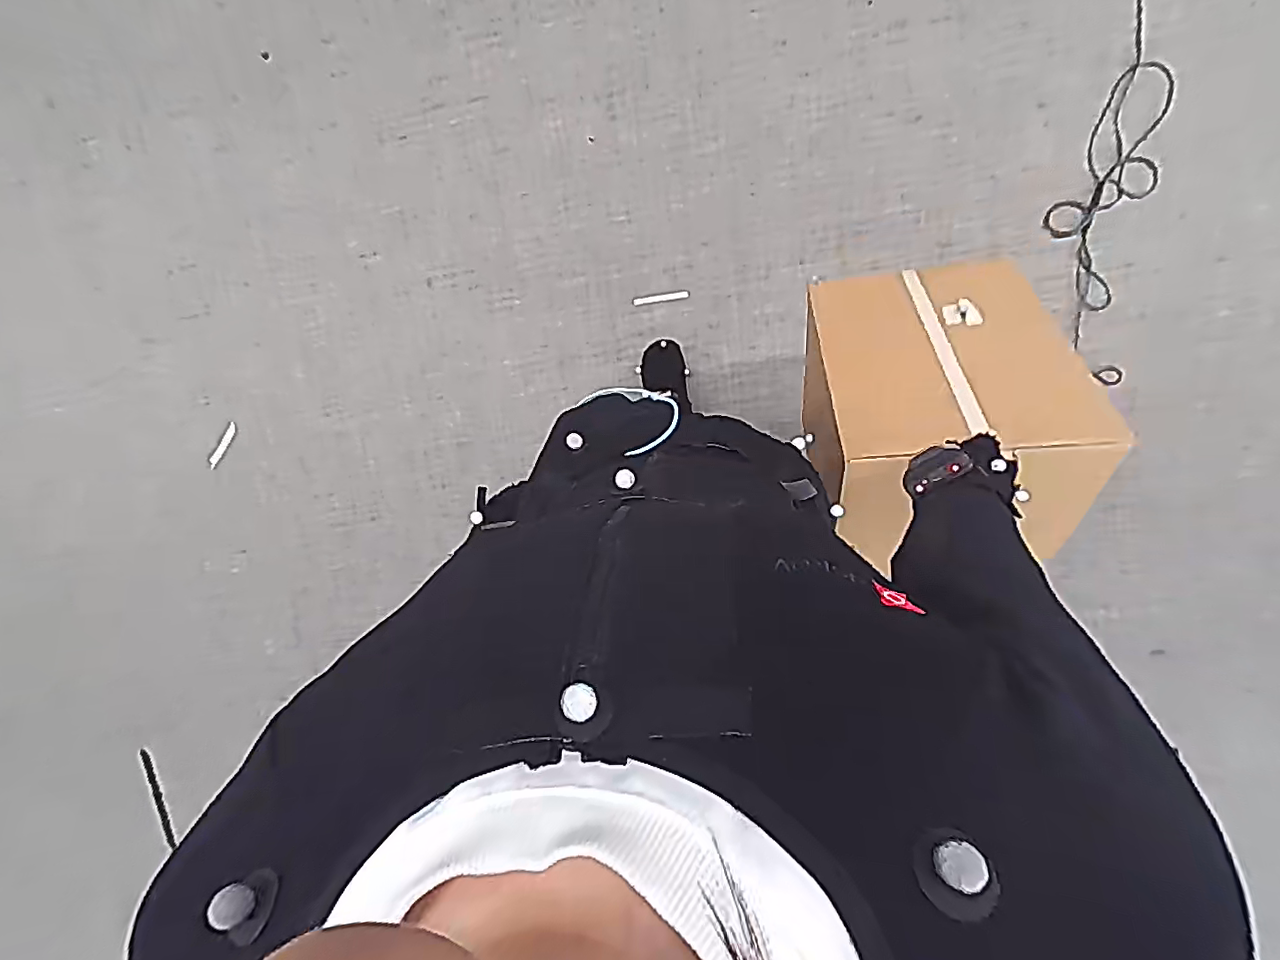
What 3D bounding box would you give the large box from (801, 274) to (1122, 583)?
[{"bbox_3d":[0.452,-0.083,0.889,0.320,0.408,0.320,-3,137,10],"label":"large box"}]
